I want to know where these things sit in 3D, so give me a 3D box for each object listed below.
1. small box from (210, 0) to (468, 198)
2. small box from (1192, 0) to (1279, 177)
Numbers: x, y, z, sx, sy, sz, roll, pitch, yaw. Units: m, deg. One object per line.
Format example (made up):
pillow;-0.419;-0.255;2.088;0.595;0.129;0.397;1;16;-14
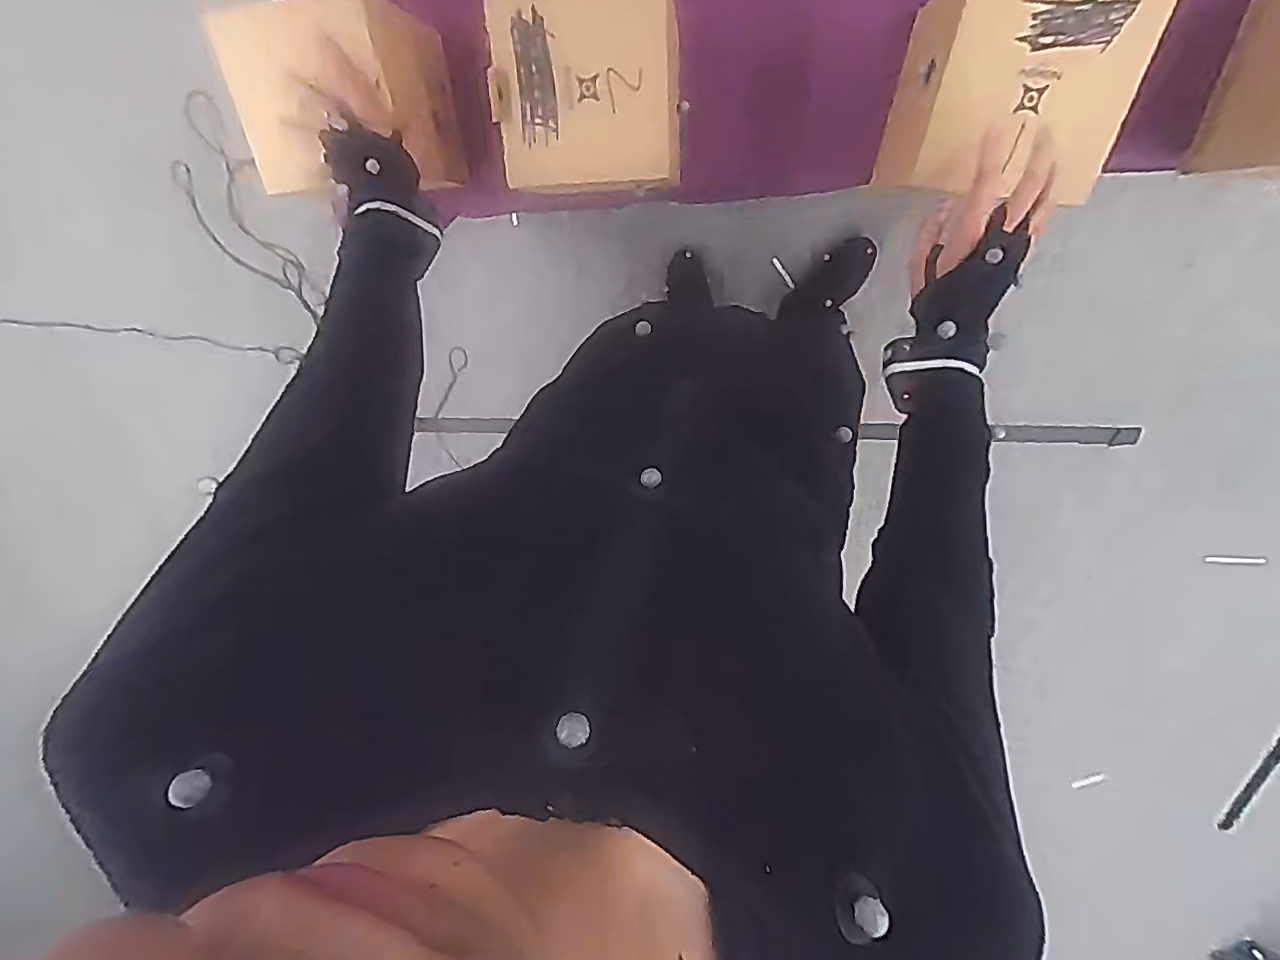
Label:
small box;-0.331;-0.434;0.634;0.179;0.176;0.168;-3;116;9
small box;0.687;-0.386;0.497;0.168;0.176;0.179;6;117;7
